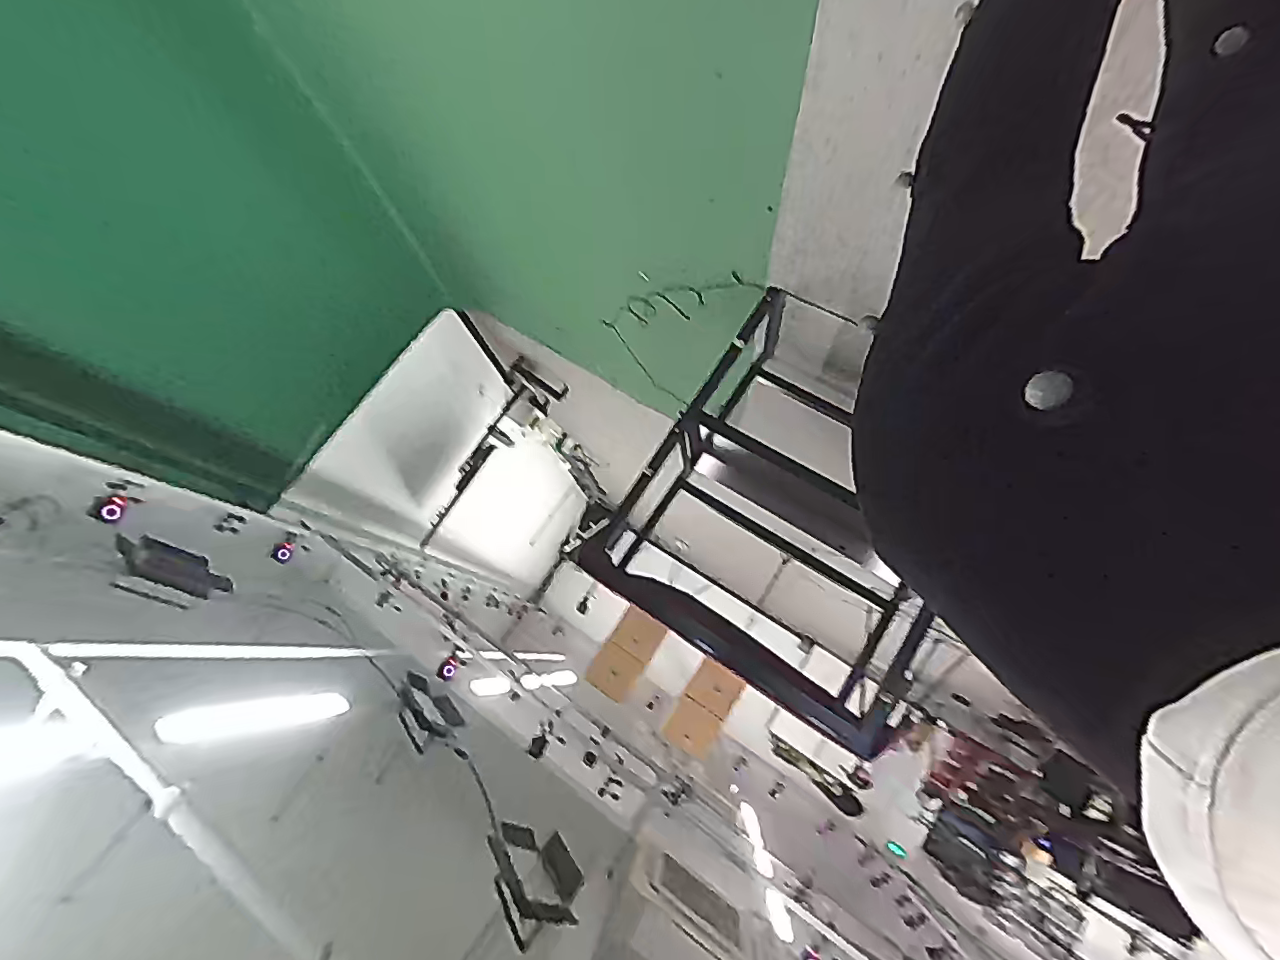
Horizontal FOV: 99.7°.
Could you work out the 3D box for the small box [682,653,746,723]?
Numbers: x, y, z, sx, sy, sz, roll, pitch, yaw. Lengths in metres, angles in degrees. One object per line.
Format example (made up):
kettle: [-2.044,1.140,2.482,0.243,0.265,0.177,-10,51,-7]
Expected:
small box: [0.275,0.765,2.005,0.179,0.176,0.168,32,168,13]

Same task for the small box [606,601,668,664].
small box: [-0.002,0.589,2.084,0.179,0.176,0.168,32,167,16]

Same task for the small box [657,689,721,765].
small box: [0.180,0.895,1.975,0.179,0.176,0.168,34,169,12]

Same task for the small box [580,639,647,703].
small box: [-0.096,0.719,2.051,0.179,0.176,0.168,30,167,17]
